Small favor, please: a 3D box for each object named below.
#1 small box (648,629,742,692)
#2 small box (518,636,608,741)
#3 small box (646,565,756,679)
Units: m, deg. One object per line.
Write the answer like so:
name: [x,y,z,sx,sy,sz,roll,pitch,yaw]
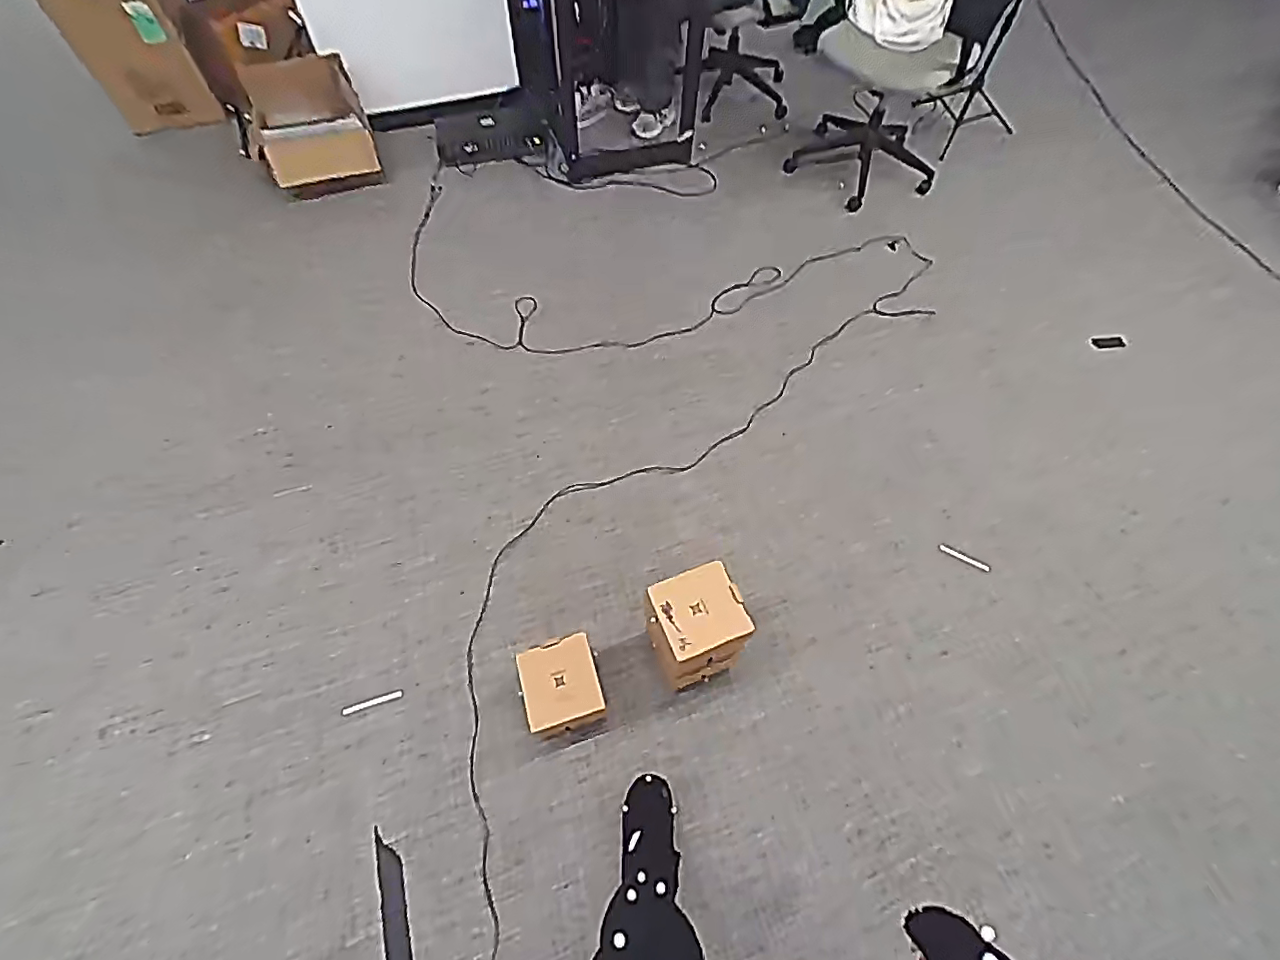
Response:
small box: [0.125,0.393,1.314,0.168,0.176,0.179,-19,63,-11]
small box: [-0.176,0.487,1.256,0.168,0.176,0.179,-15,63,-9]
small box: [0.121,0.311,1.171,0.179,0.176,0.168,-18,62,-12]
